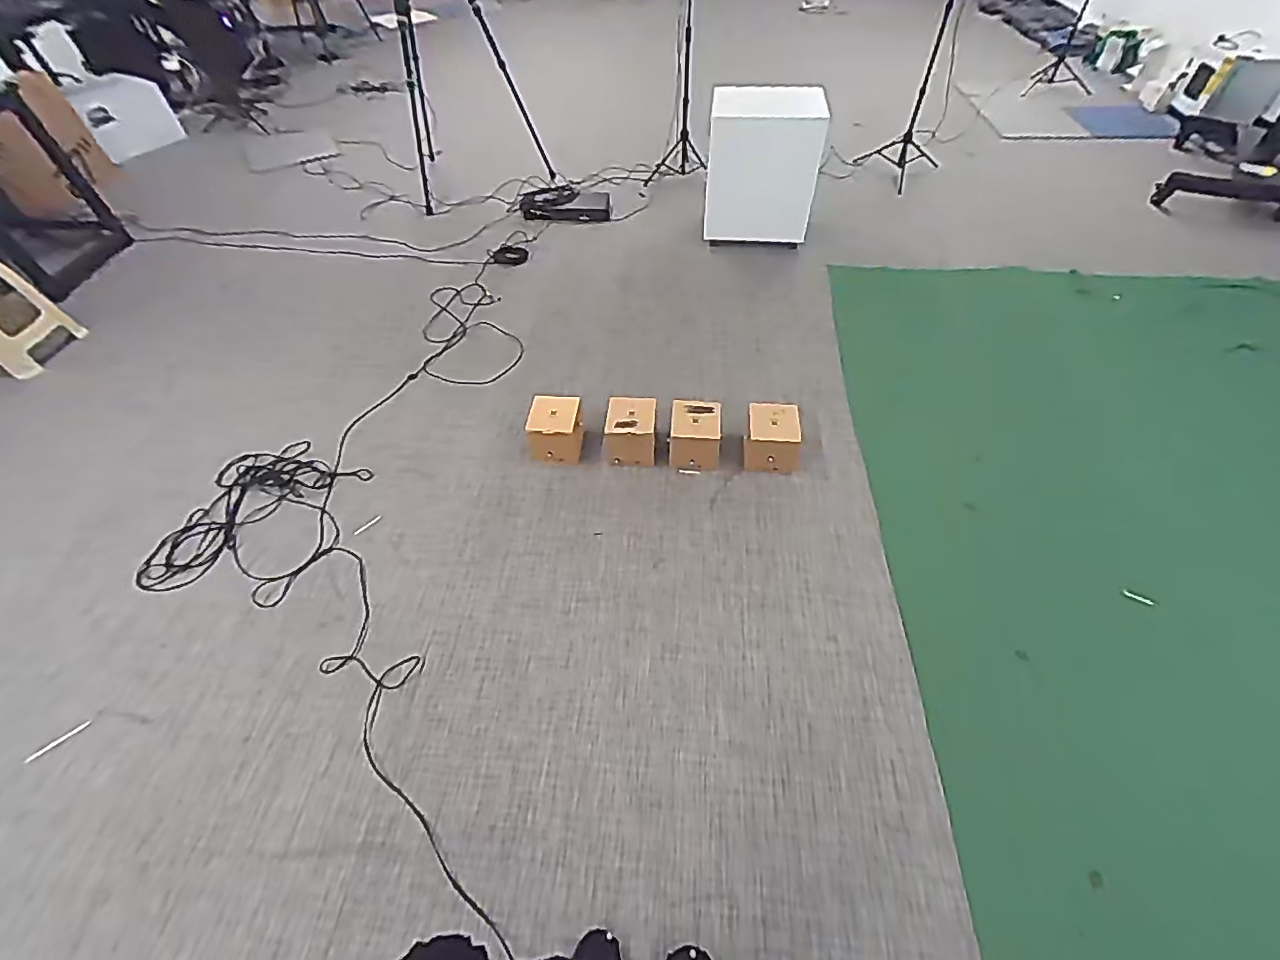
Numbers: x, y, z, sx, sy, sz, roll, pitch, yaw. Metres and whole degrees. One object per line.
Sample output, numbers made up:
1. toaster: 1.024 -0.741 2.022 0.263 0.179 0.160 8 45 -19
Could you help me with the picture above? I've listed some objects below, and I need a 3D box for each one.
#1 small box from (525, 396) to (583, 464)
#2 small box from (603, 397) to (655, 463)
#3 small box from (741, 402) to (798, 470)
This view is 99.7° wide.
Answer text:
1. small box: -0.299 -0.180 1.933 0.168 0.176 0.179 2 52 4
2. small box: -0.034 -0.175 1.915 0.168 0.176 0.179 2 51 4
3. small box: 0.445 -0.151 1.881 0.168 0.176 0.179 3 52 4
